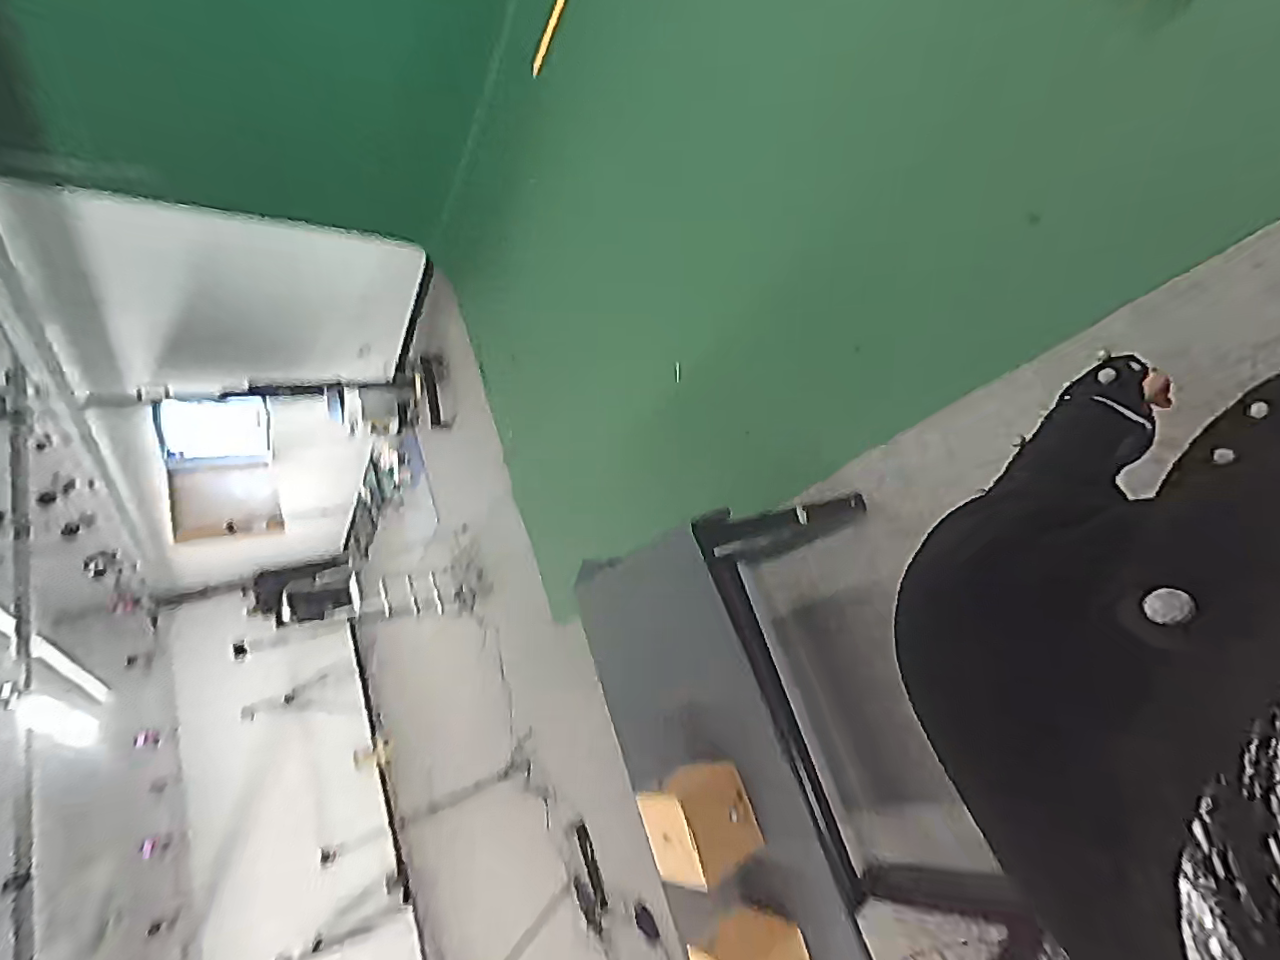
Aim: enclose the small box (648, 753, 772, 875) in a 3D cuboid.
[{"bbox_3d":[0.150,0.709,1.170,0.179,0.176,0.168,-40,66,50],"label":"small box"}]
